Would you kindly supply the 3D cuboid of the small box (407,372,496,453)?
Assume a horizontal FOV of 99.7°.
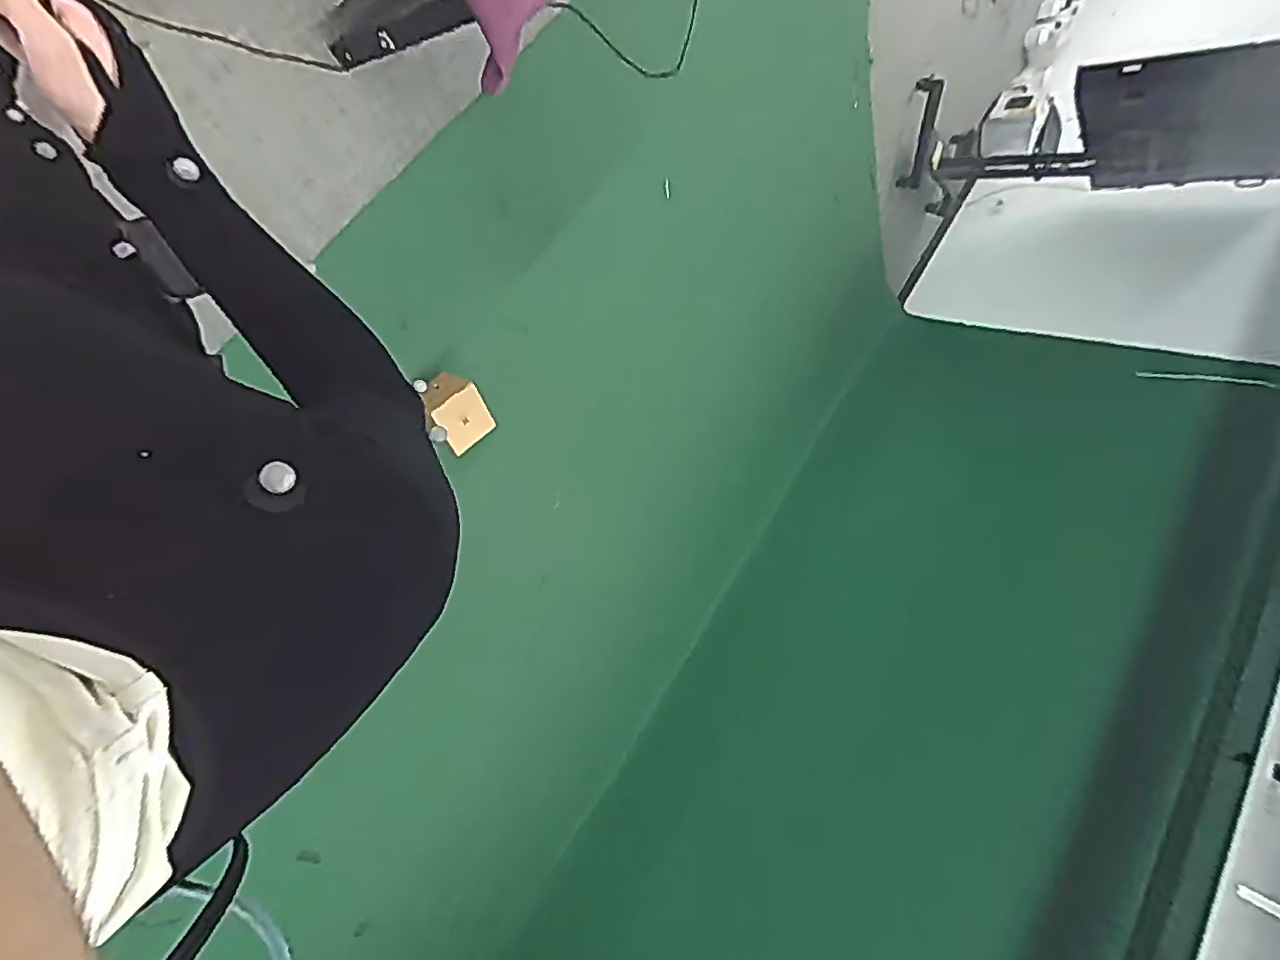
[{"bbox_3d":[-0.600,-0.221,1.723,0.168,0.176,0.179,-45,137,-25],"label":"small box"}]
